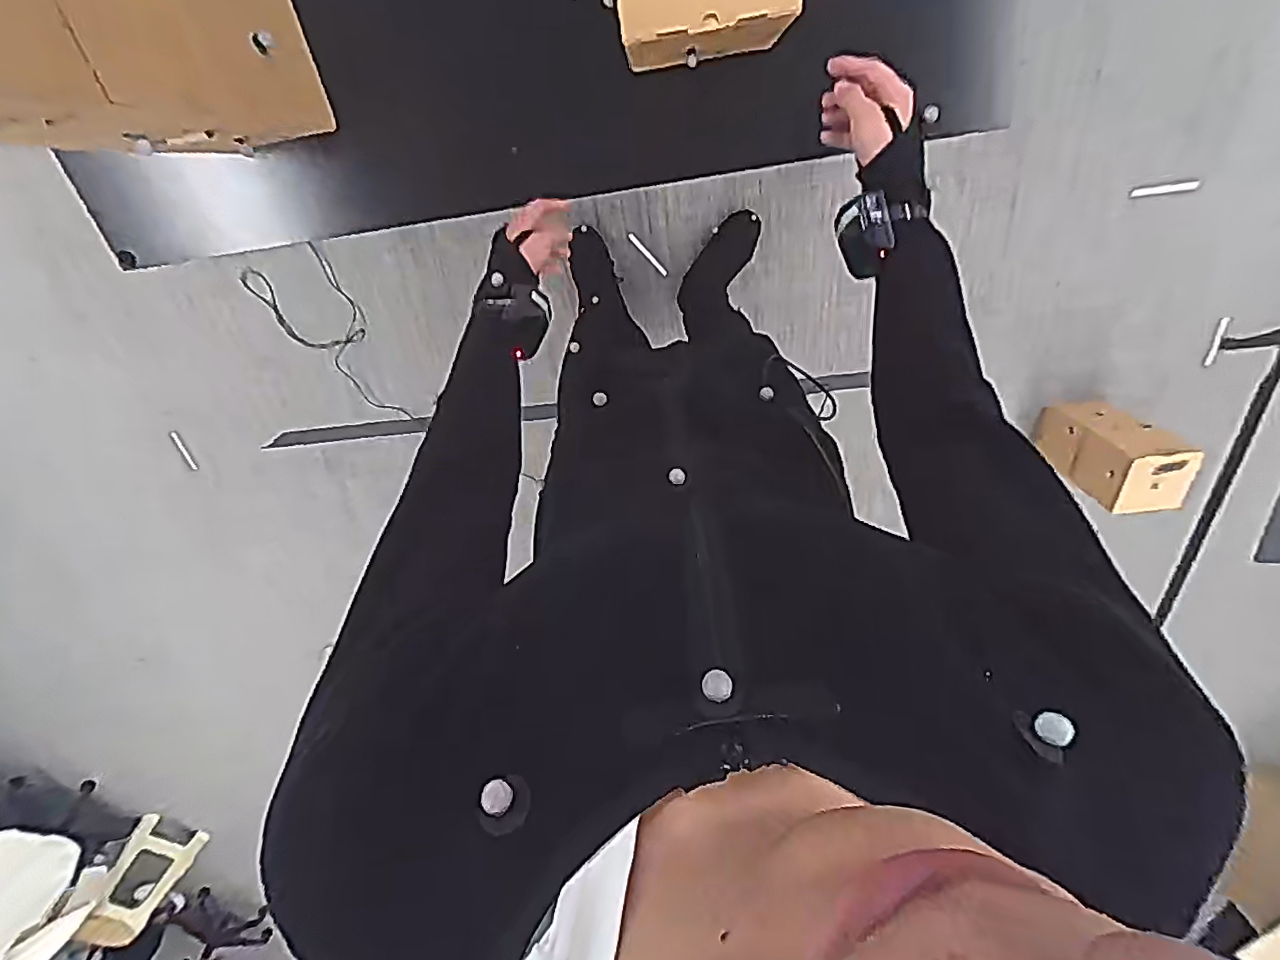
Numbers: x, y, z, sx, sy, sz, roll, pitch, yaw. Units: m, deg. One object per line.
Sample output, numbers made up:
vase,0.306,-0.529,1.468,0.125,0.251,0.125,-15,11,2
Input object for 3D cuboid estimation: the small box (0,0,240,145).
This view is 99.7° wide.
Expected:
small box,-0.478,-0.379,0.424,0.168,0.176,0.179,-7,120,6

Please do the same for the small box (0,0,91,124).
small box,-0.480,-0.295,0.284,0.168,0.176,0.179,-7,121,7

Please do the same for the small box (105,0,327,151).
small box,-0.474,-0.462,0.566,0.168,0.176,0.179,-8,121,6

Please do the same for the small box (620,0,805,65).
small box,0.056,-0.528,0.514,0.168,0.176,0.179,-7,121,6

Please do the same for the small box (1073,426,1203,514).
small box,1.296,-0.033,1.425,0.168,0.176,0.179,-6,122,5
